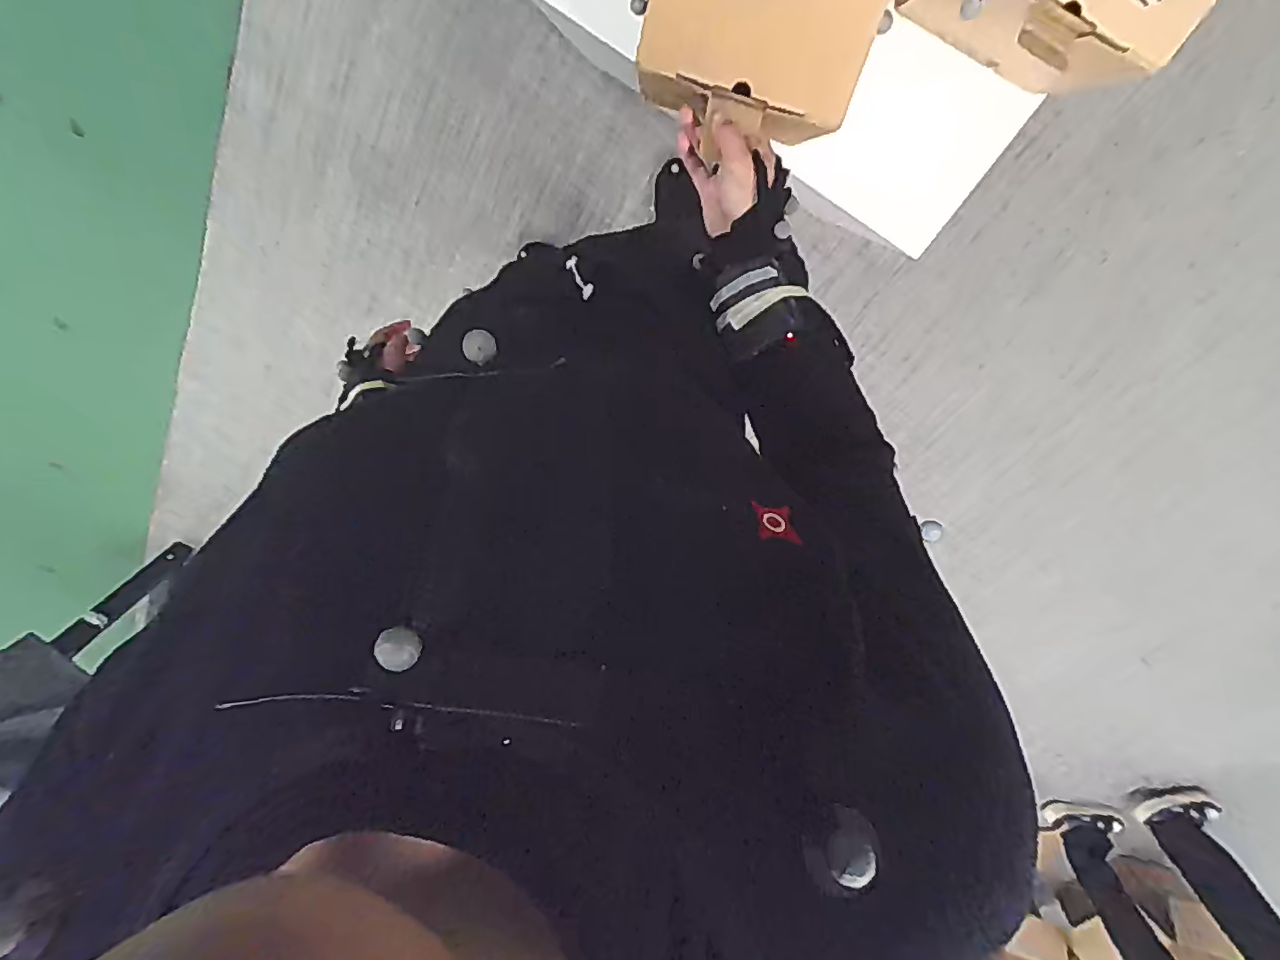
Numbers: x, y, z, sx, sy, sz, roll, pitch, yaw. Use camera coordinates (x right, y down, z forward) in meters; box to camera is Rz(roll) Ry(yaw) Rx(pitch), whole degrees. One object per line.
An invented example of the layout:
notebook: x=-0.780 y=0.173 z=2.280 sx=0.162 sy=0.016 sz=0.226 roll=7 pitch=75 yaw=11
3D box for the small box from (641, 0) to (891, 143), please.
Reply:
small box: x=0.099 y=-0.398 z=0.439 sx=0.168 sy=0.176 sz=0.179 roll=13 pitch=119 yaw=-6
